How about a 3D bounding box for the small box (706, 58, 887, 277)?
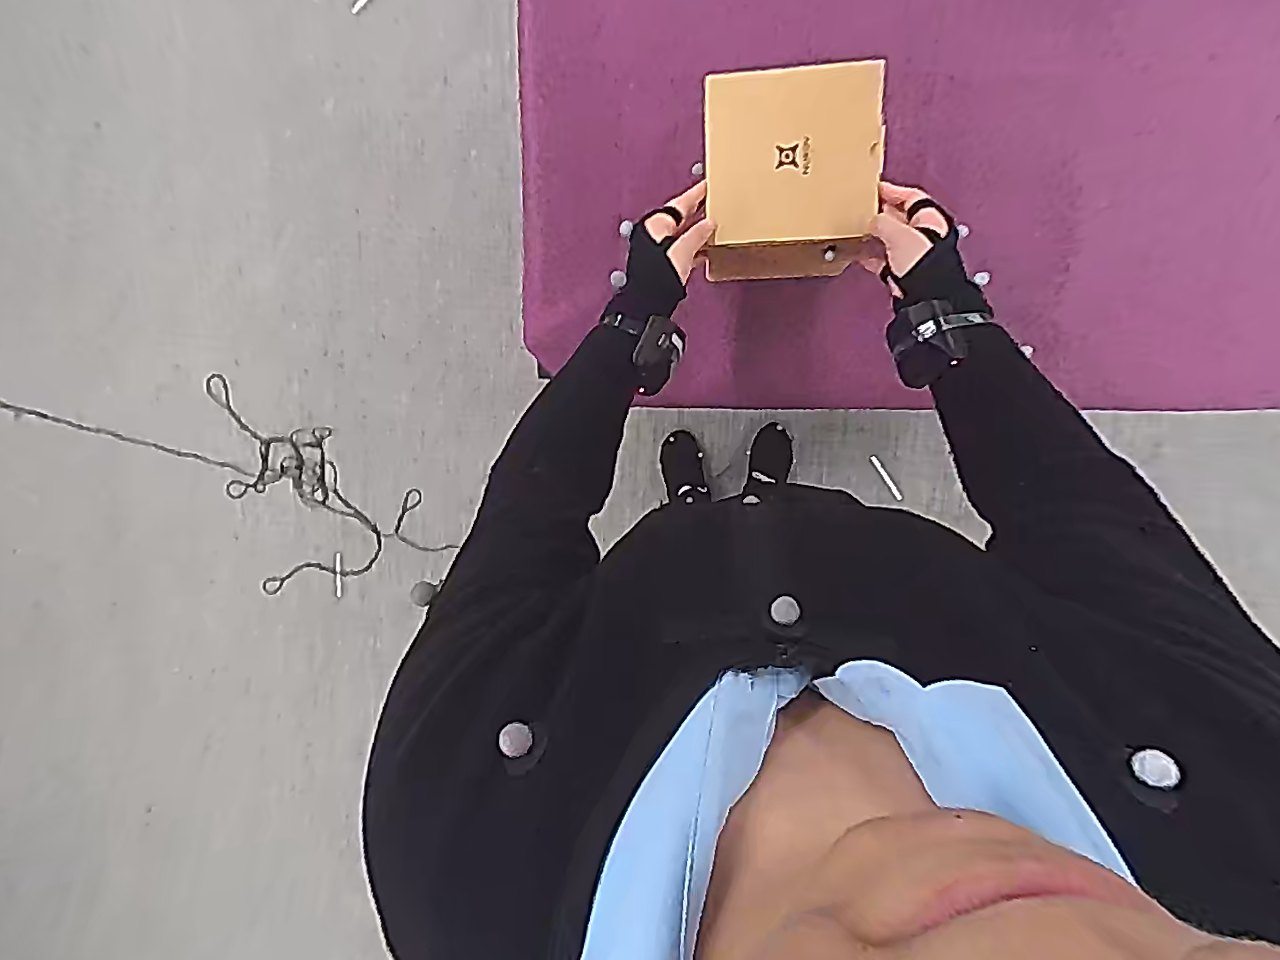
[{"bbox_3d":[0.166,-0.340,0.625,0.179,0.176,0.168,0,98,7],"label":"small box"}]
